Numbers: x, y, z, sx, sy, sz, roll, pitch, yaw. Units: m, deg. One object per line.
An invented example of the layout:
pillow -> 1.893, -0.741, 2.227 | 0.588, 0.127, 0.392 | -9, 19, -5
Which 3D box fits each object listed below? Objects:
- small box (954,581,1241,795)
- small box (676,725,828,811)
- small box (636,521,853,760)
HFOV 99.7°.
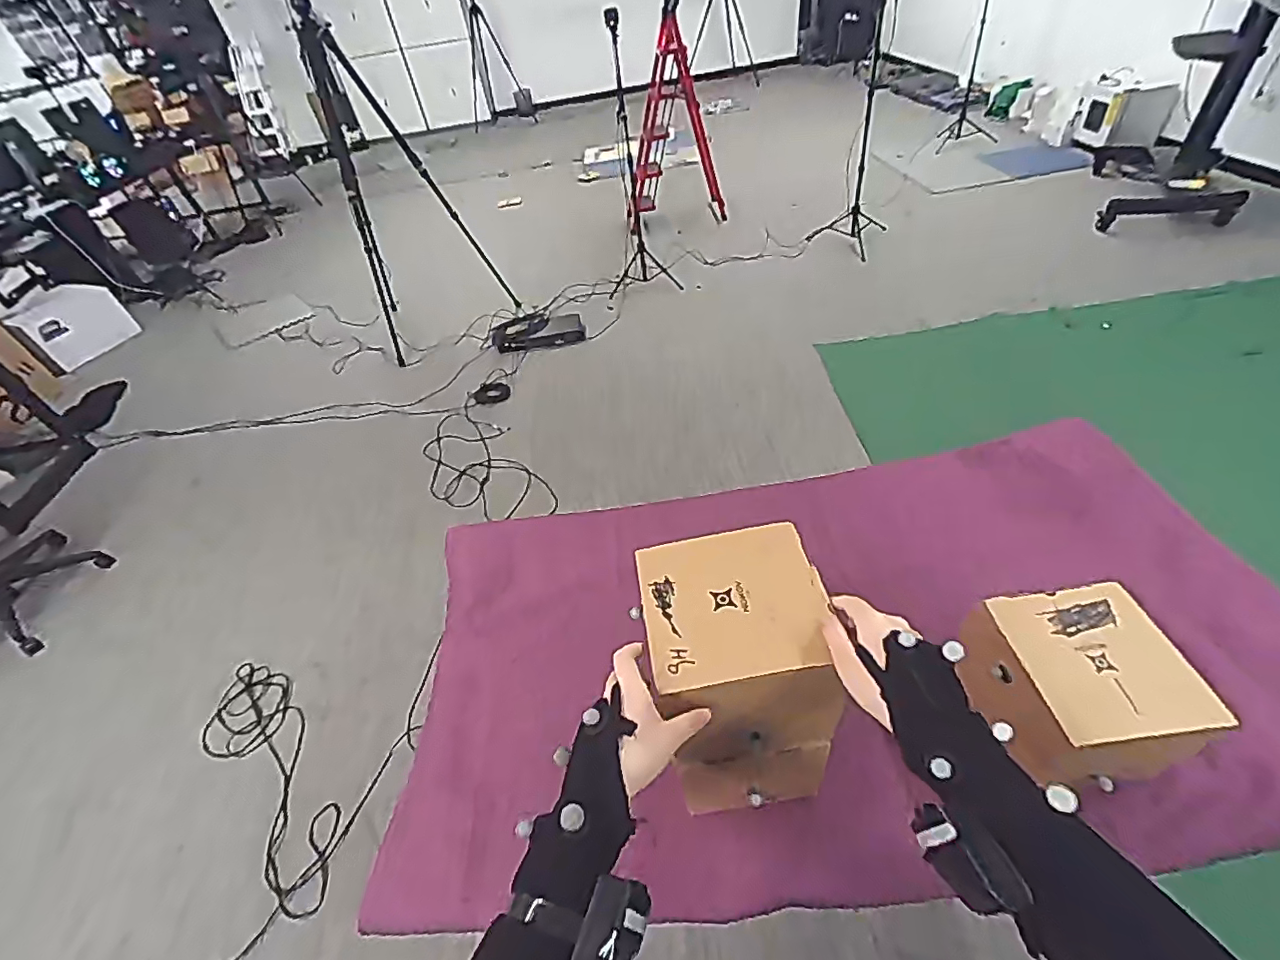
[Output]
small box -> 0.512, 0.248, 0.646 | 0.168, 0.176, 0.179 | -9, 44, 2
small box -> 0.120, 0.286, 0.680 | 0.168, 0.176, 0.179 | -10, 43, 2
small box -> 0.097, 0.169, 0.567 | 0.179, 0.176, 0.168 | -10, 42, 0
